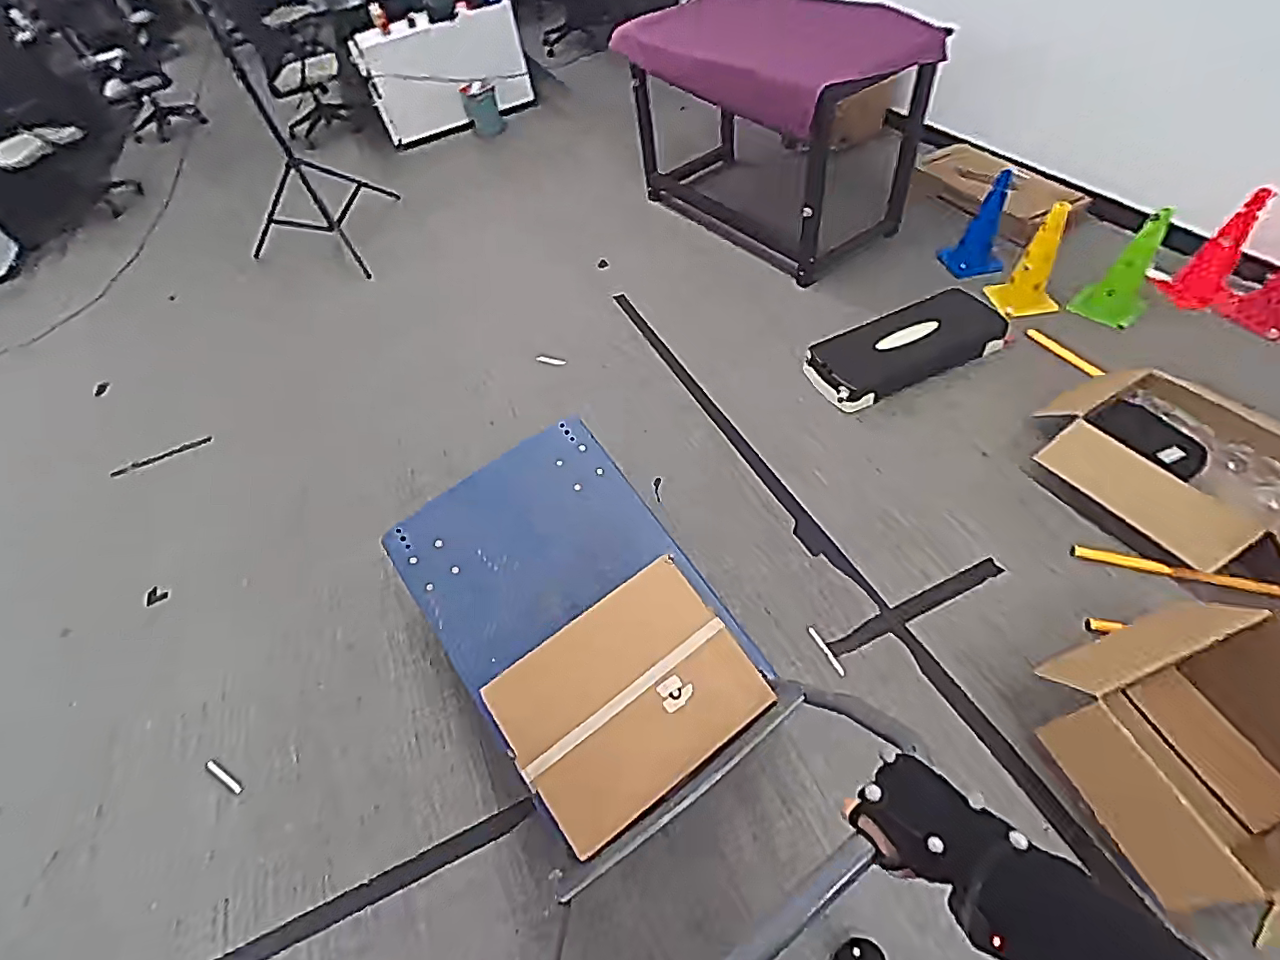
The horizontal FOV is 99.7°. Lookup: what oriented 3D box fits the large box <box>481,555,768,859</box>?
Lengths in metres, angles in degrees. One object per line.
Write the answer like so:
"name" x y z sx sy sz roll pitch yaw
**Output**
"large box" -0.027 0.416 1.056 0.408 0.320 0.320 -35 75 -13
